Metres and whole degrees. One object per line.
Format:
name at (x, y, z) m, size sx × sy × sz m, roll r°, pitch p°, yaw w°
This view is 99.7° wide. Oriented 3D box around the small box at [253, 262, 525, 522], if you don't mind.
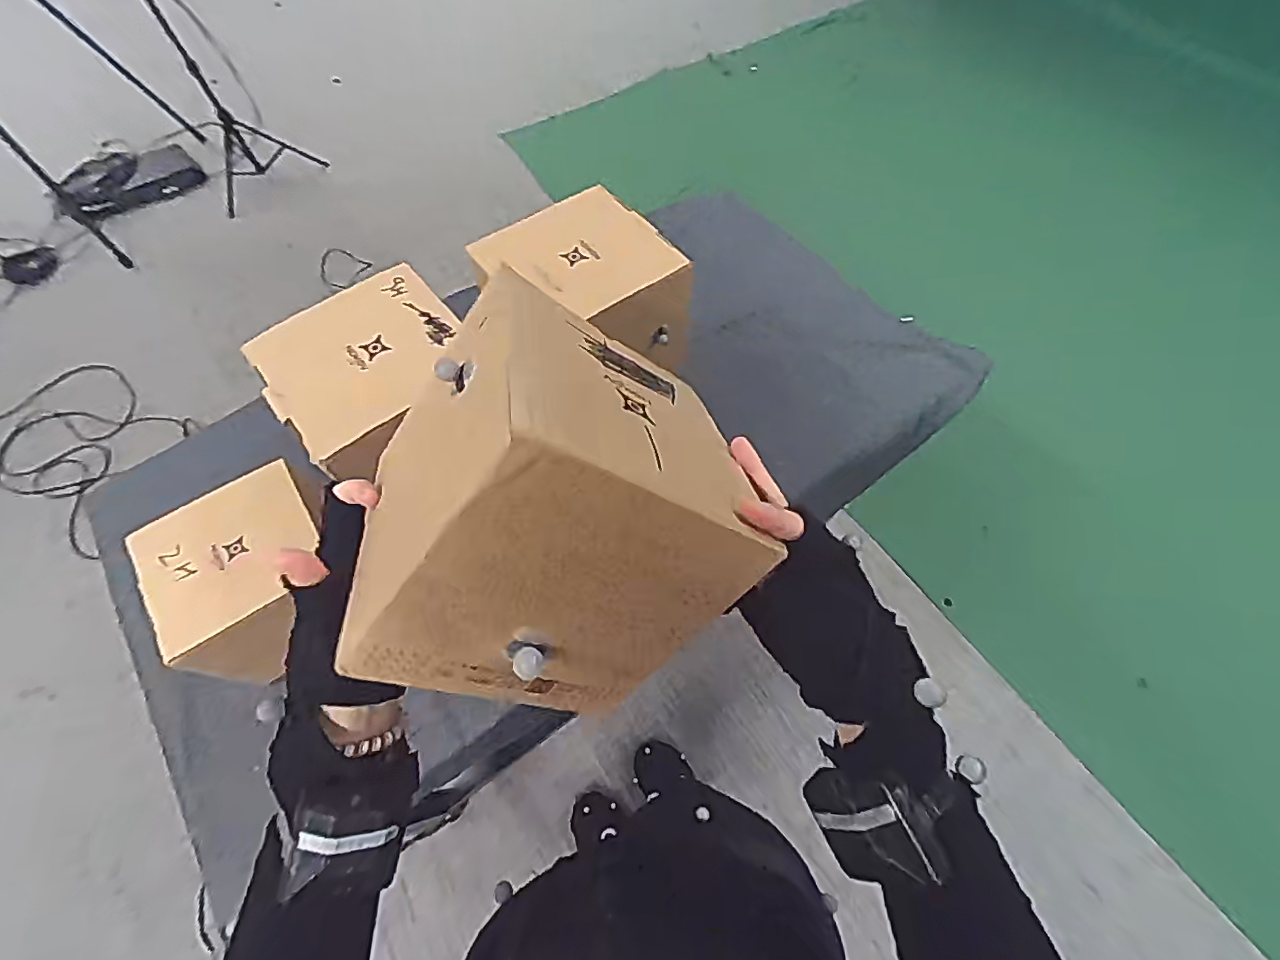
small box at (-0.248, -0.084, 0.576) m, size 0.179 × 0.176 × 0.168 m, roll -37°, pitch 70°, yaw -16°
